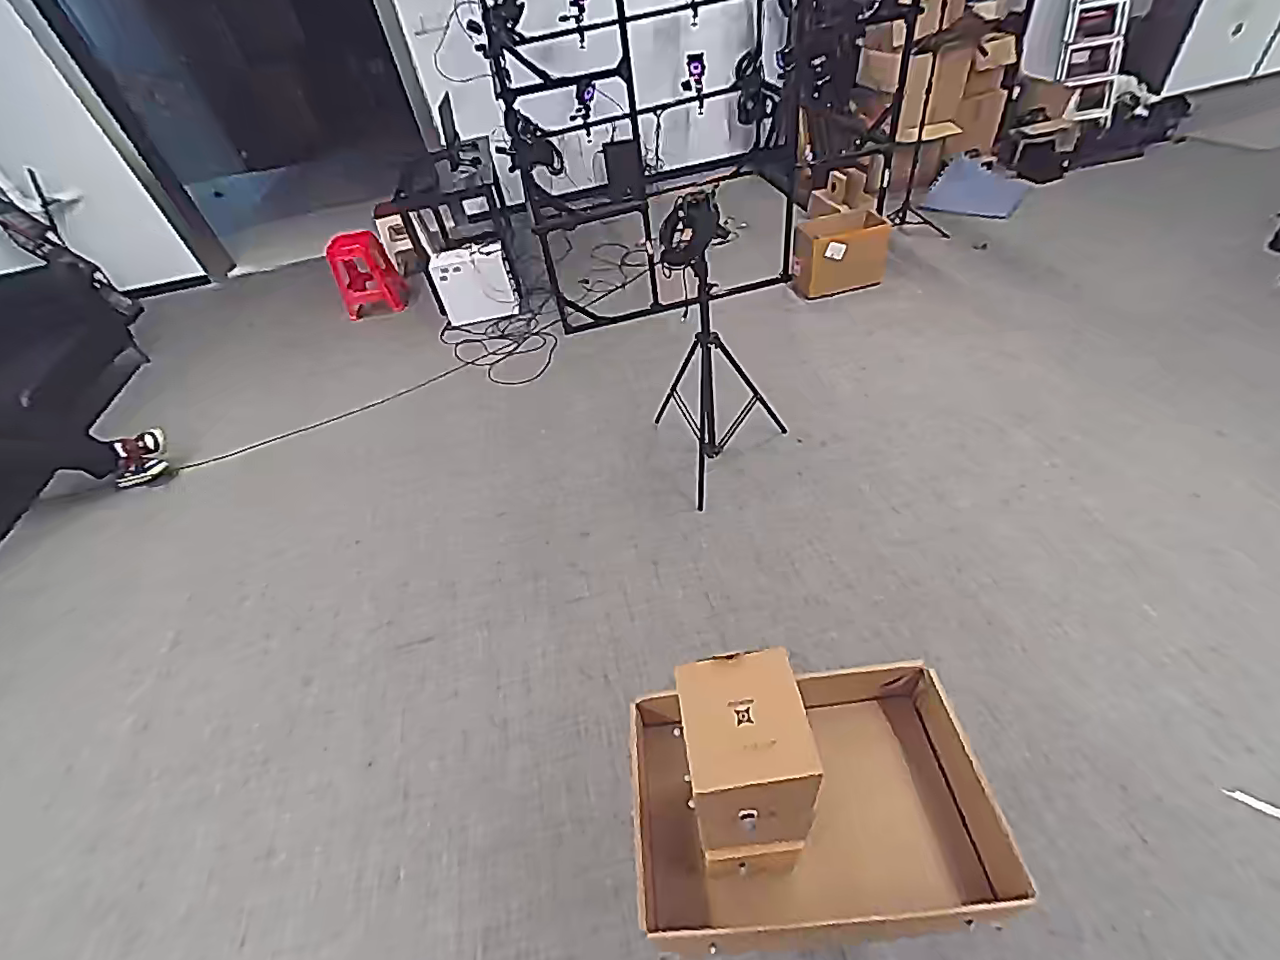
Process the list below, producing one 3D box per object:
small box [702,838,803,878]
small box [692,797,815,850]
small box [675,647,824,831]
[{"bbox_3d":[0.190,0.607,0.991,0.168,0.176,0.179,-8,43,1],"label":"small box"},{"bbox_3d":[0.172,0.484,0.883,0.179,0.176,0.168,-7,44,2],"label":"small box"},{"bbox_3d":[0.146,0.368,0.770,0.168,0.176,0.179,-10,43,2],"label":"small box"}]
